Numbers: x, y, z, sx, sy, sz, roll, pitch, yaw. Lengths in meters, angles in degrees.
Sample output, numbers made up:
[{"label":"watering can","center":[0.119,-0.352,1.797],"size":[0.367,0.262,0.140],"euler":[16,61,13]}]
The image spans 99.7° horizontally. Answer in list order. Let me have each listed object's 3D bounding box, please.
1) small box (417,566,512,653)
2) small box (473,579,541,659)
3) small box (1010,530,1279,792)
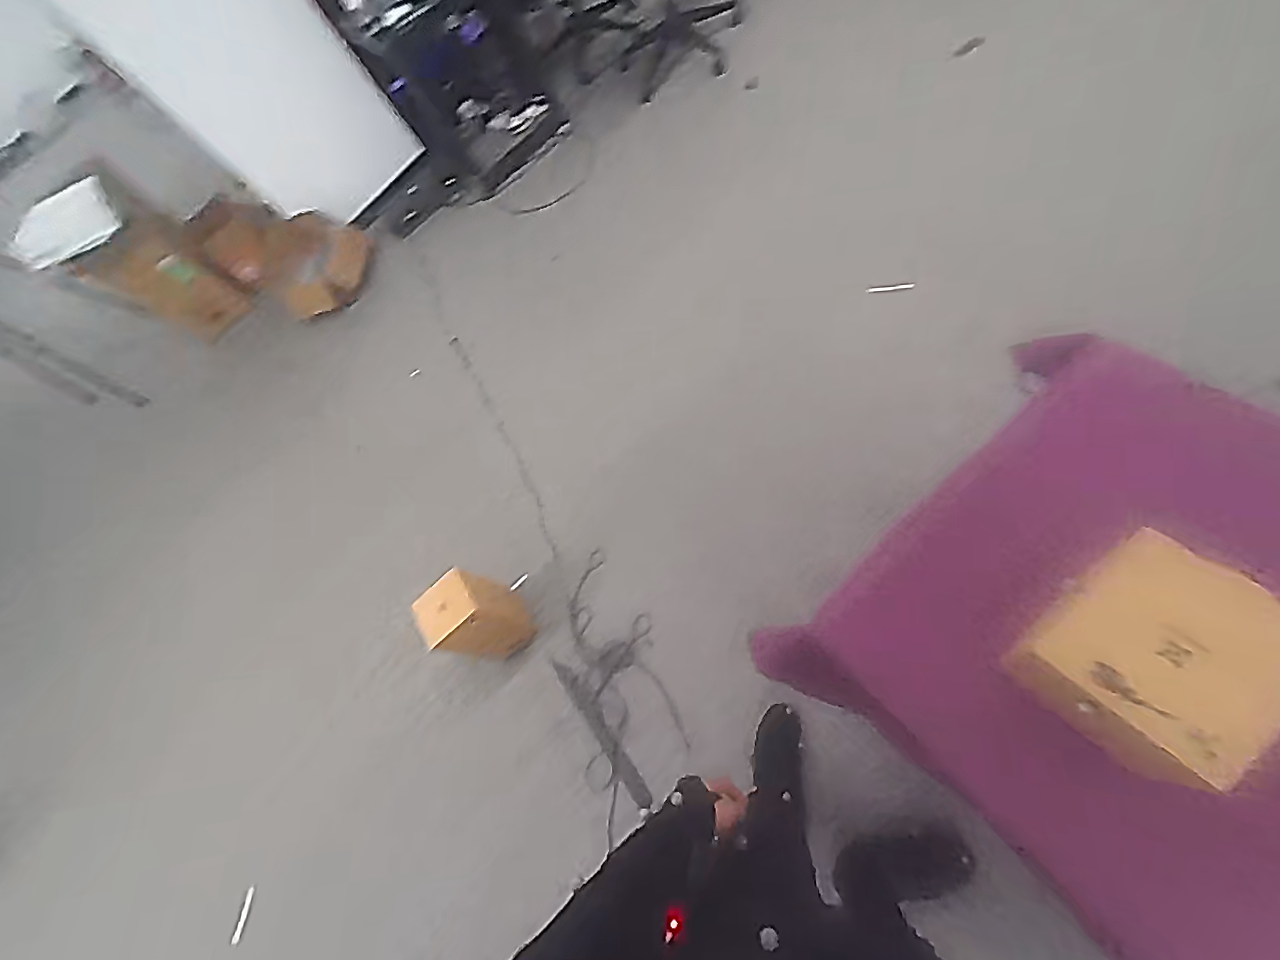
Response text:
[{"label":"small box","center":[-0.512,0.388,1.589],"size":[0.179,0.176,0.168],"euler":[-42,58,1]},{"label":"small box","center":[-0.453,0.450,1.727],"size":[0.168,0.176,0.179],"euler":[-43,58,1]},{"label":"small box","center":[0.531,0.187,0.567],"size":[0.179,0.176,0.168],"euler":[-45,58,-2]}]
